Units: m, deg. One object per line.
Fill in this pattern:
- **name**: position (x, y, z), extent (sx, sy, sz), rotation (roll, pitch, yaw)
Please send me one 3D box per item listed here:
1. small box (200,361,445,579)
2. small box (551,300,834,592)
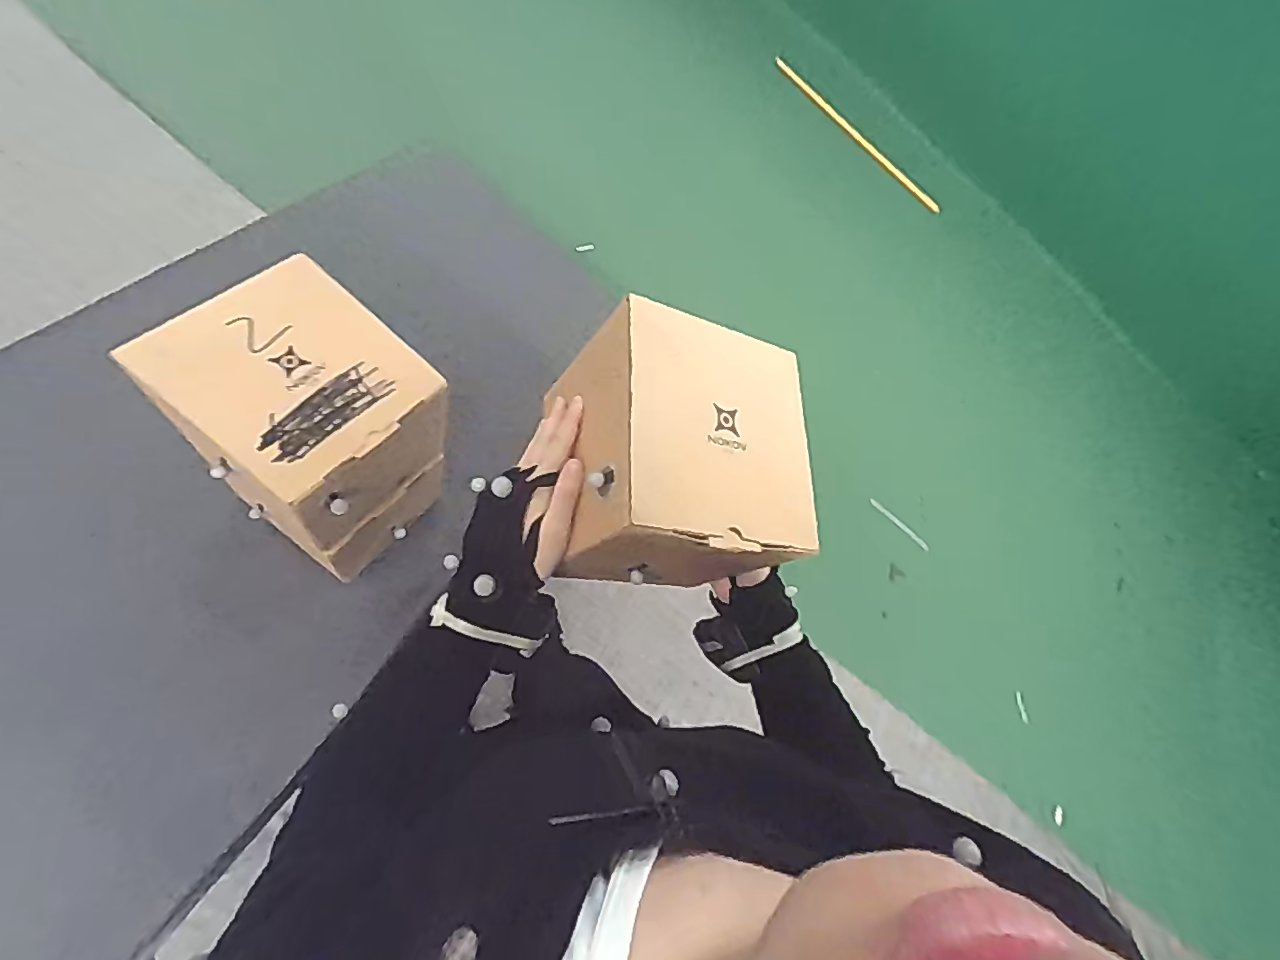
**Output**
- **small box**: position (-0.363, -0.001, 0.653), extent (0.179, 0.176, 0.168), rotation (41, 61, -3)
- **small box**: position (0.032, -0.010, 0.456), extent (0.168, 0.176, 0.179), rotation (11, 67, -28)
